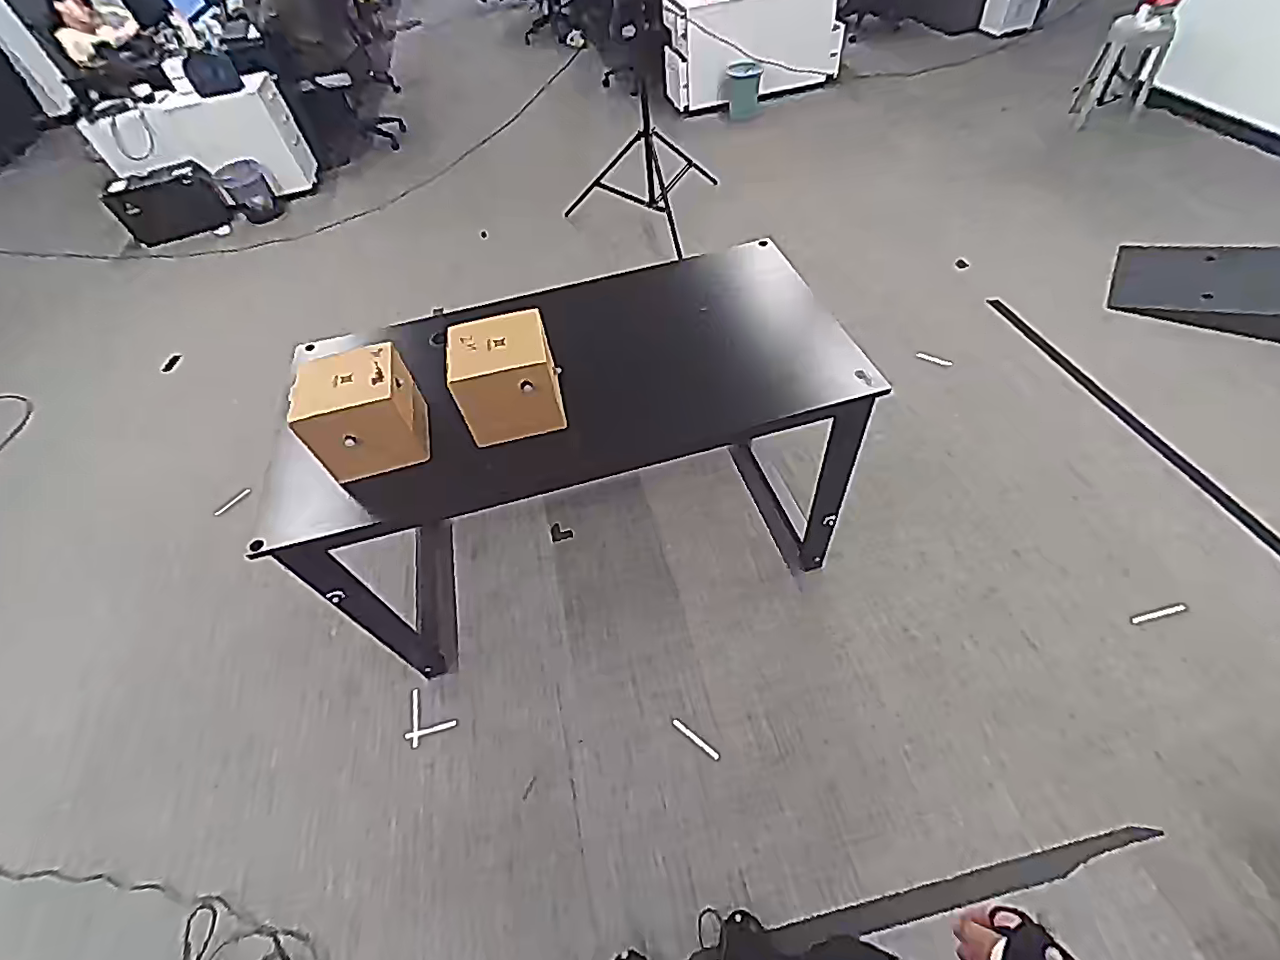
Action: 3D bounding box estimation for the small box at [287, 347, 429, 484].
[{"bbox_3d":[-0.518,-0.116,1.017,0.179,0.176,0.168,-17,52,-5],"label":"small box"}]

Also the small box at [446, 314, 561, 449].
[{"bbox_3d":[-0.254,-0.185,1.036,0.179,0.176,0.168,-14,51,-3],"label":"small box"}]
